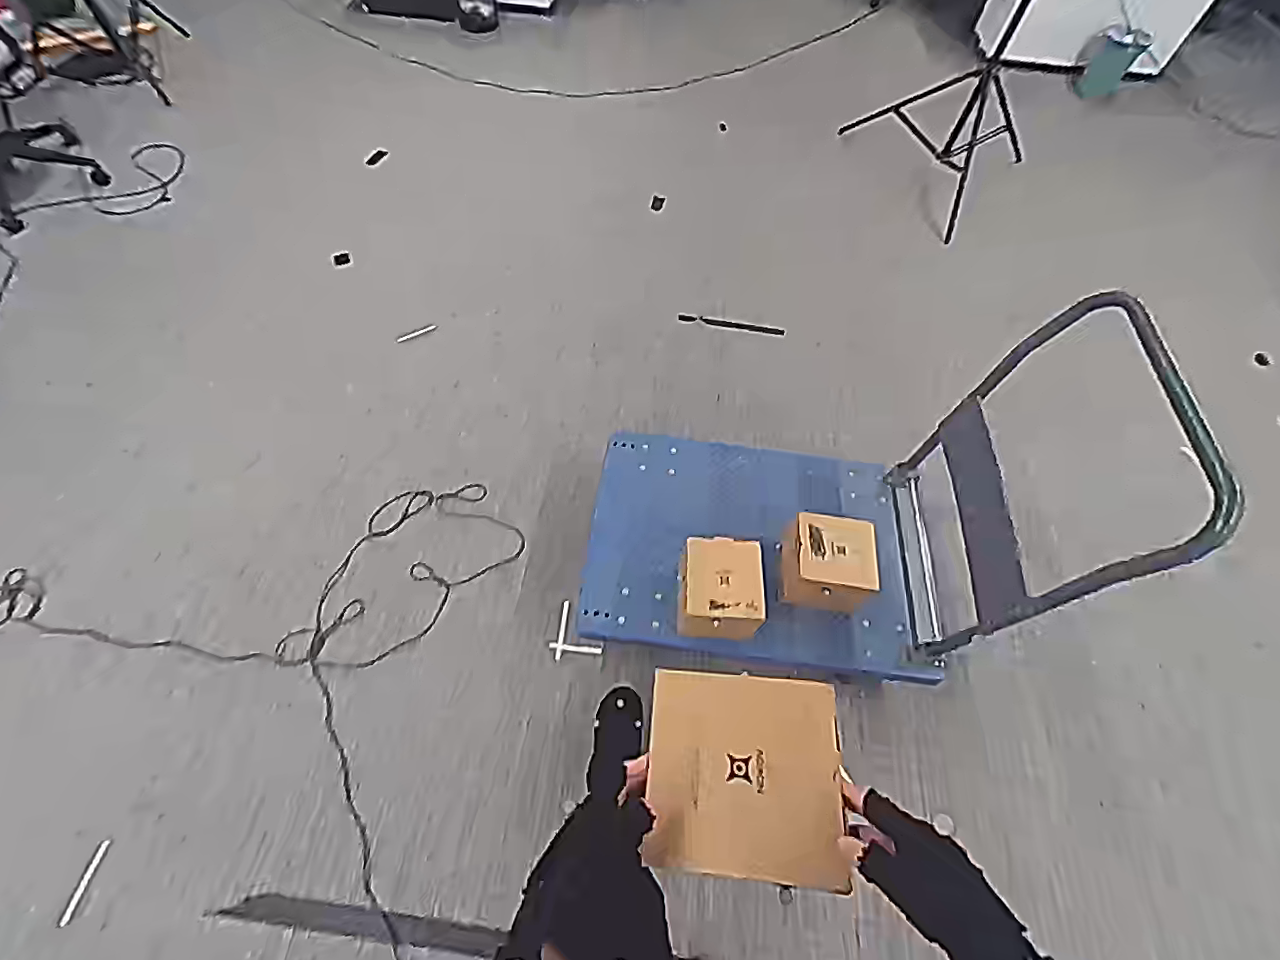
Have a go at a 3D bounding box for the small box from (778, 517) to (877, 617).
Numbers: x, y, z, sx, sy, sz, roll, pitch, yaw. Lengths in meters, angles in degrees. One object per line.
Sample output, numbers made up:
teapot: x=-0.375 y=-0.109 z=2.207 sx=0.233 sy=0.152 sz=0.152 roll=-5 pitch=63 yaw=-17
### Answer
small box: x=0.430 y=0.209 z=1.268 sx=0.179 sy=0.176 sz=0.168 roll=9 pitch=59 yaw=1

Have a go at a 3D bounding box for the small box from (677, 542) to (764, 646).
small box: x=0.175 y=0.259 z=1.222 sx=0.168 sy=0.176 sz=0.179 roll=4 pitch=58 yaw=-1

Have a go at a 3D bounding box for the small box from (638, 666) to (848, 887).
small box: x=0.100 y=0.307 z=0.560 sx=0.179 sy=0.176 sz=0.168 roll=2 pitch=53 yaw=8
